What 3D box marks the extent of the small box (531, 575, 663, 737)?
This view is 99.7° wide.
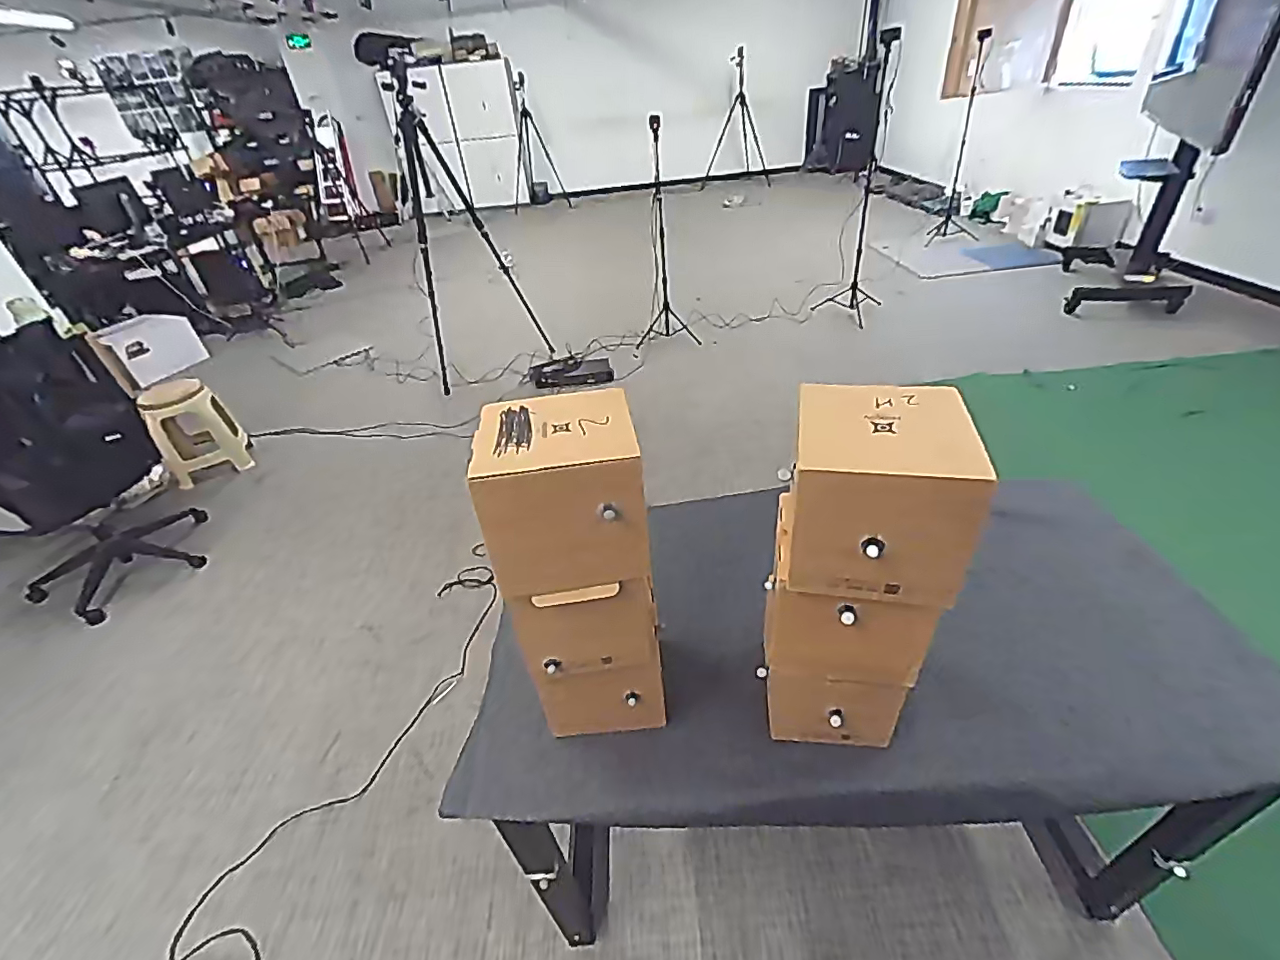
[{"bbox_3d":[-0.057,0.273,0.839,0.179,0.176,0.168,-7,35,1],"label":"small box"}]

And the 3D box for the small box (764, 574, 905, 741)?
[{"bbox_3d":[0.272,0.260,0.797,0.168,0.176,0.179,-1,37,9],"label":"small box"}]

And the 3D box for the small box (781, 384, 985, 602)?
[{"bbox_3d":[0.243,0.010,0.585,0.168,0.176,0.179,3,37,15],"label":"small box"}]

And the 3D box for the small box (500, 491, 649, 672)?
[{"bbox_3d":[-0.083,0.142,0.741,0.168,0.176,0.179,-8,34,-3],"label":"small box"}]

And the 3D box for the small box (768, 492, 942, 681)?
[{"bbox_3d":[0.259,0.135,0.693,0.179,0.176,0.168,2,37,14],"label":"small box"}]
